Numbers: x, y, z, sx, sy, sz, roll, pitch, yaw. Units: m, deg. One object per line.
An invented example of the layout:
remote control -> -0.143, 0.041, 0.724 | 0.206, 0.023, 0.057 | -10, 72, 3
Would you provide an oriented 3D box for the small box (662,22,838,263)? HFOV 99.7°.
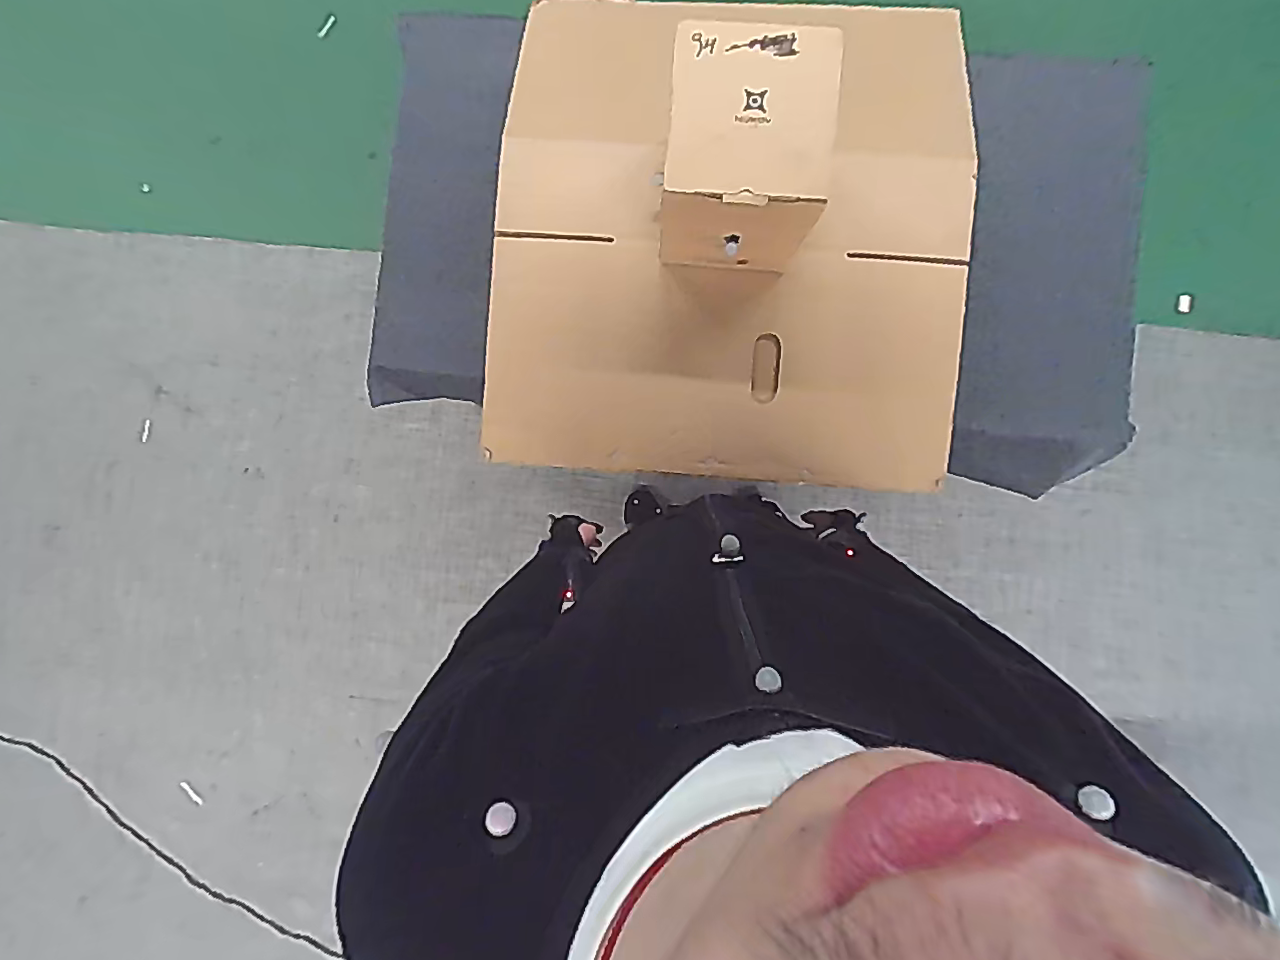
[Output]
small box -> 0.112, -0.363, 0.612 | 0.168, 0.176, 0.179 | 3, 89, 2
